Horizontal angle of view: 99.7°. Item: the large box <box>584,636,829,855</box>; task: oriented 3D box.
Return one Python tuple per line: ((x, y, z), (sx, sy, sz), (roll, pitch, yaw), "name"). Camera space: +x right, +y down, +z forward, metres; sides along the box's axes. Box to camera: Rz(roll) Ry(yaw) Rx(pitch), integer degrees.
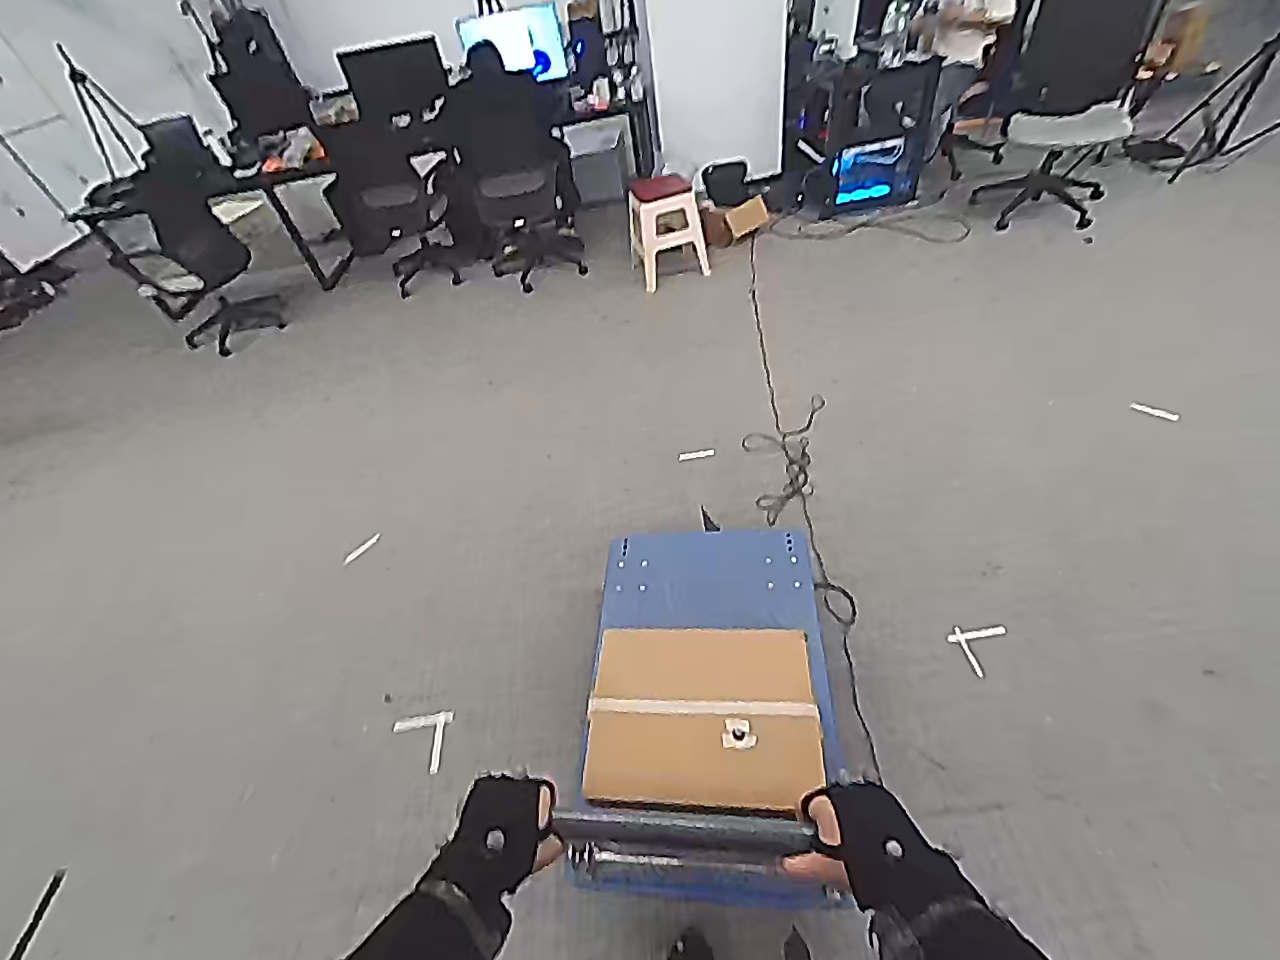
((0.128, 0.526, 1.073), (0.408, 0.320, 0.320), (-3, 47, 9), "large box")
